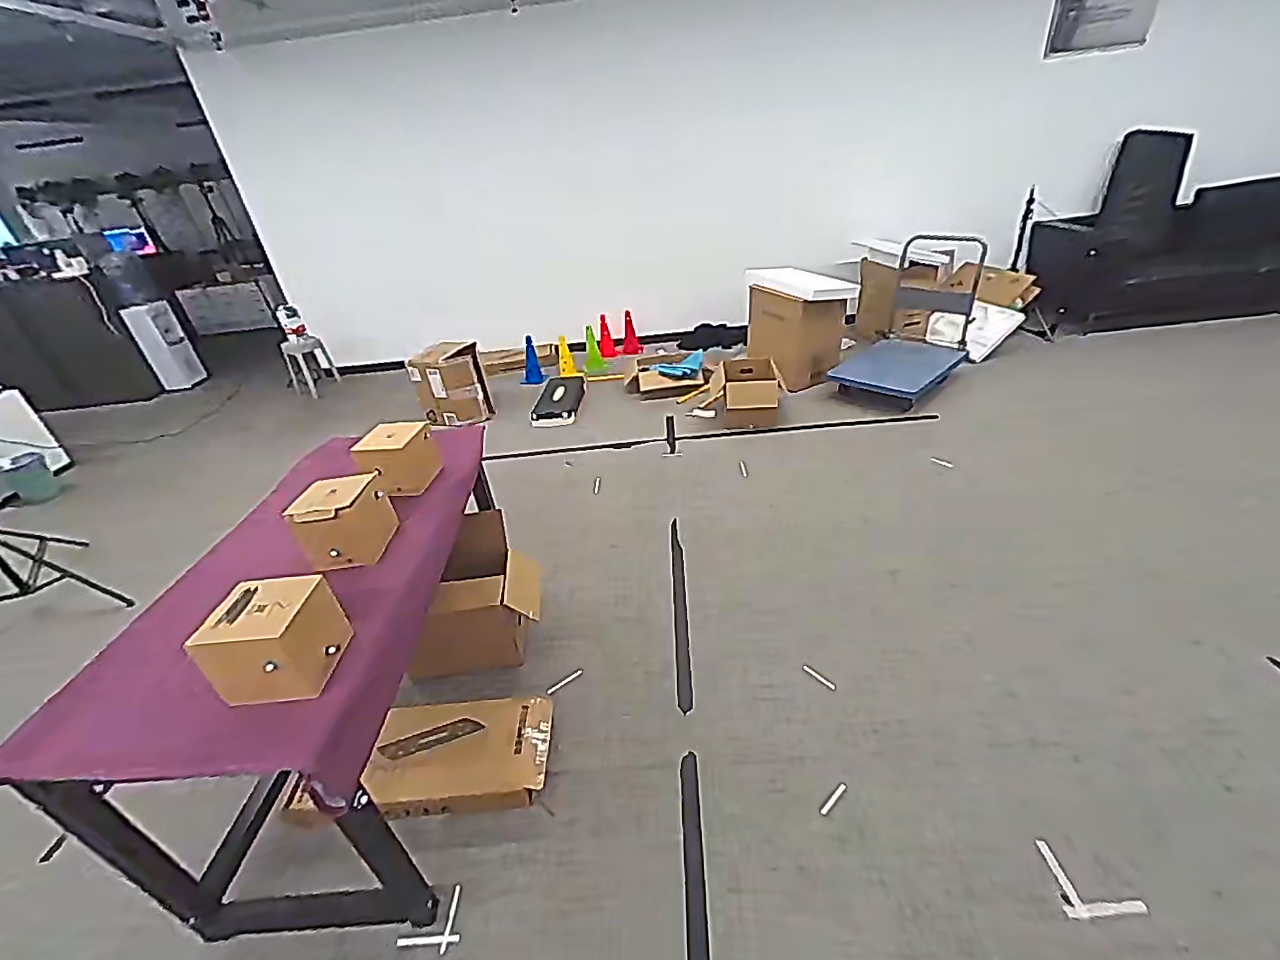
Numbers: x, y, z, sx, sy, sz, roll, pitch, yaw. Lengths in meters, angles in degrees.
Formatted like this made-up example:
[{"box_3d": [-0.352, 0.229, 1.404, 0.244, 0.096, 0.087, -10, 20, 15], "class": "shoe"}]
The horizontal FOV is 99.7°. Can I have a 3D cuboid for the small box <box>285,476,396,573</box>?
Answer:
[{"box_3d": [-0.750, 0.113, 1.381, 0.168, 0.176, 0.179, -8, 31, 3], "class": "small box"}]

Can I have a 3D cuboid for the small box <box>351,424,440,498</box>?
[{"box_3d": [-0.736, -0.053, 1.653, 0.168, 0.176, 0.179, -3, 31, 8], "class": "small box"}]
